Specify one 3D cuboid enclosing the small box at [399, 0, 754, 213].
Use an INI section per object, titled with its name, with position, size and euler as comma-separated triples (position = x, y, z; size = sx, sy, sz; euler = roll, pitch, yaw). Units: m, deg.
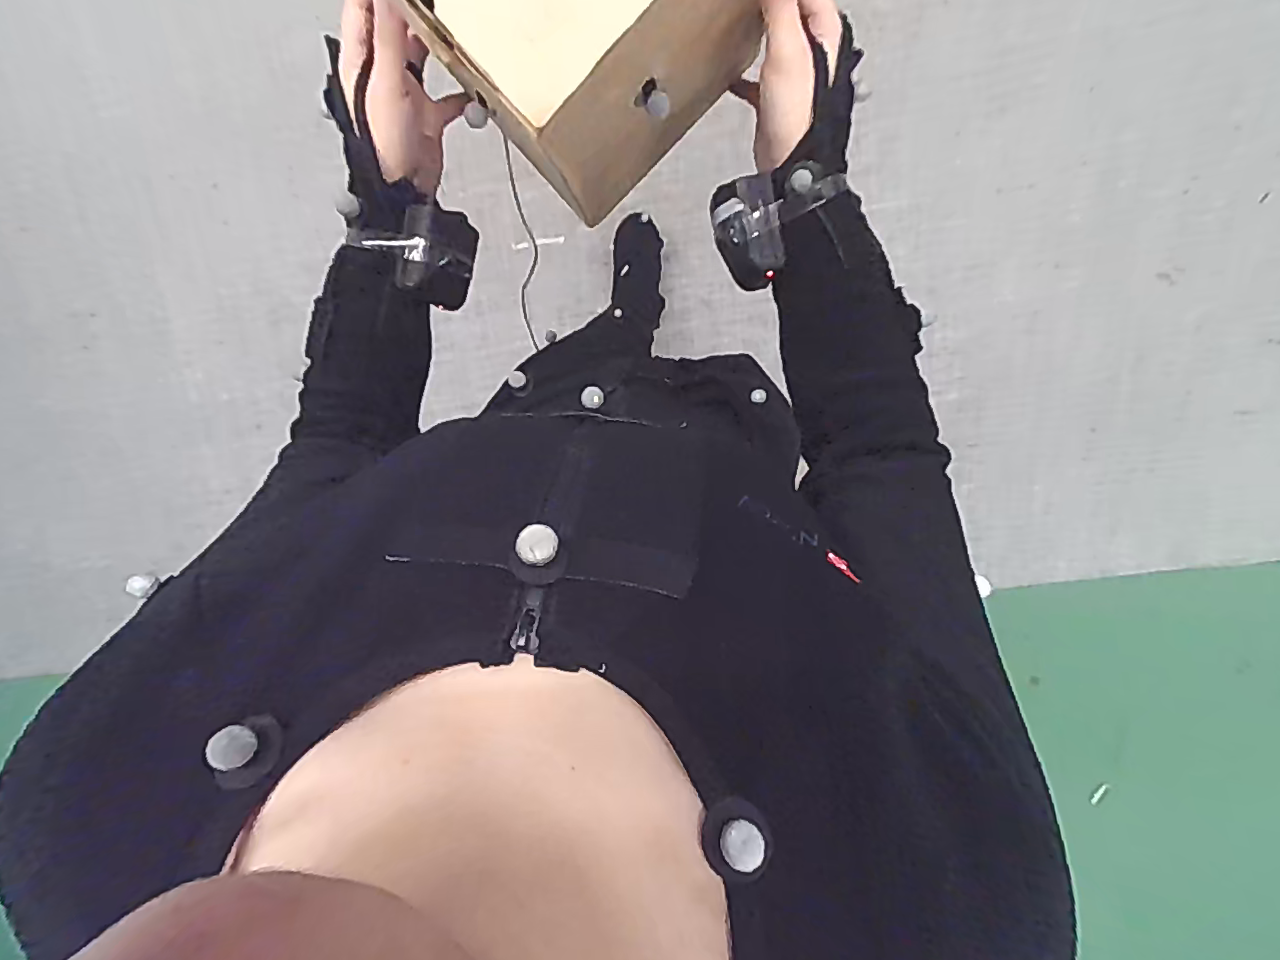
[small box]
position = -0.038, -0.307, 0.338
size = 0.179, 0.176, 0.168
euler = -43, 94, 11
